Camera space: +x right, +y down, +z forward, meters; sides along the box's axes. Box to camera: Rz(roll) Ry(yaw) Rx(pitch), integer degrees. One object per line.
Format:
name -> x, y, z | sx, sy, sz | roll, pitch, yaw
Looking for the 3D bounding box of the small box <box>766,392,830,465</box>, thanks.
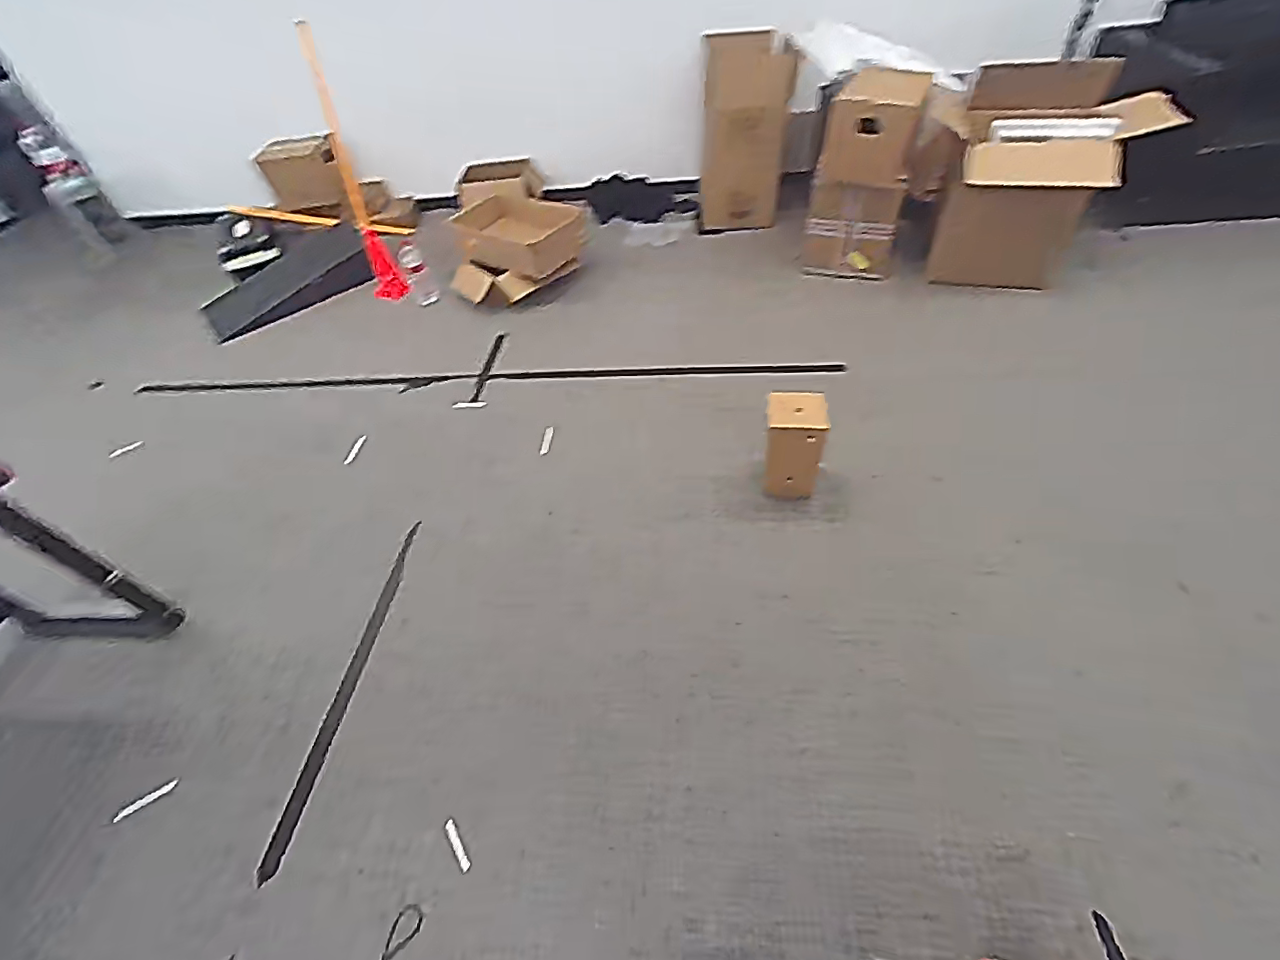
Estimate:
small box -> 0.504, -0.163, 1.742 | 0.179, 0.176, 0.168 | 3, 49, 10
